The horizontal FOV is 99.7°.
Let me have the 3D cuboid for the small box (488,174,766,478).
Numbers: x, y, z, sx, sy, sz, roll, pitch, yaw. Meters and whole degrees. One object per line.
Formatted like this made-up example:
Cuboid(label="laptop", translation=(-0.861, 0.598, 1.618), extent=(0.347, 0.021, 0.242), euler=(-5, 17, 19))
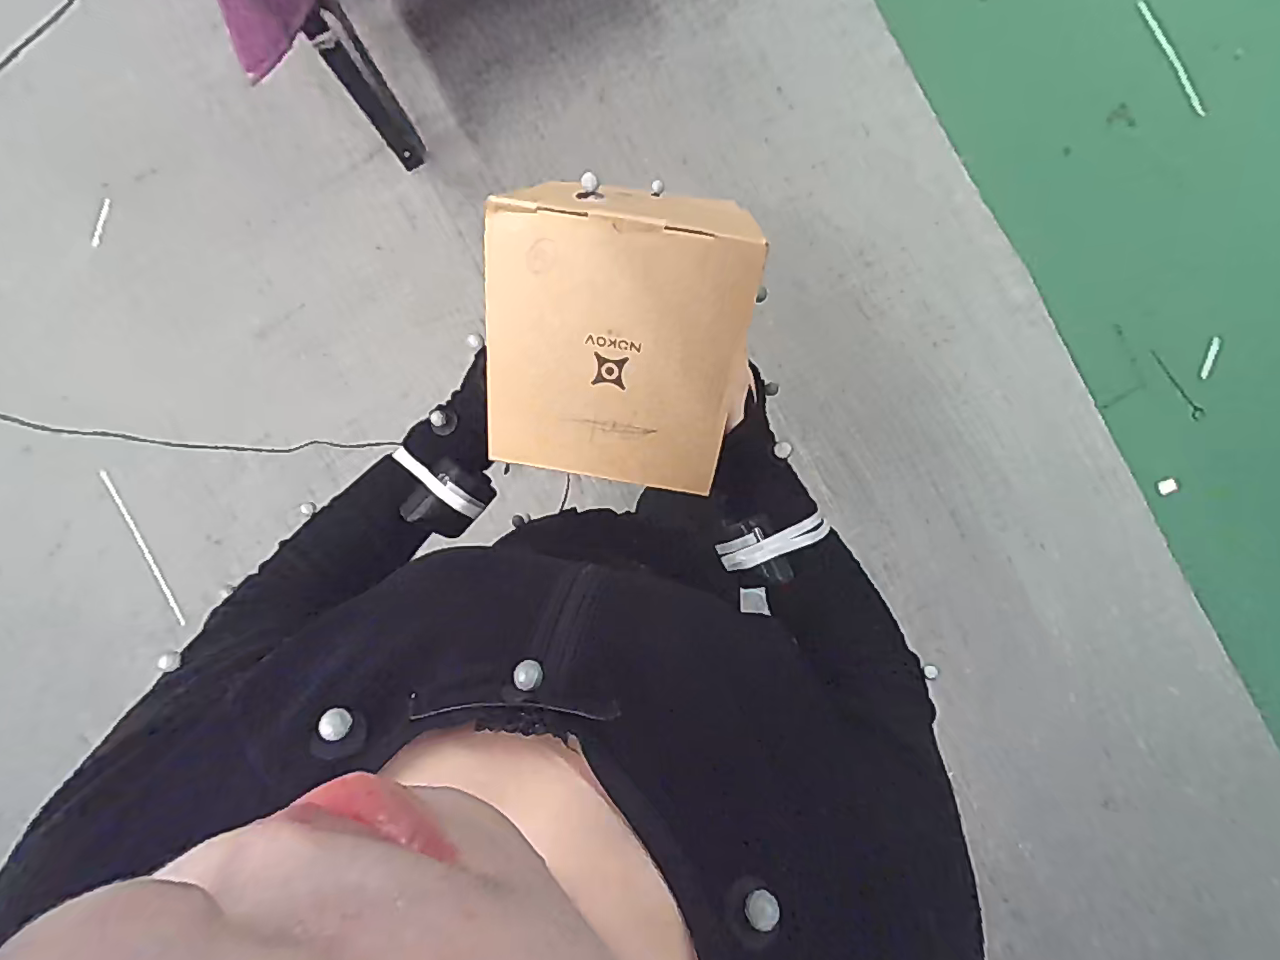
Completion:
Cuboid(label="small box", translation=(-0.011, -0.128, 0.421), extent=(0.168, 0.176, 0.179), euler=(10, 122, 1))
